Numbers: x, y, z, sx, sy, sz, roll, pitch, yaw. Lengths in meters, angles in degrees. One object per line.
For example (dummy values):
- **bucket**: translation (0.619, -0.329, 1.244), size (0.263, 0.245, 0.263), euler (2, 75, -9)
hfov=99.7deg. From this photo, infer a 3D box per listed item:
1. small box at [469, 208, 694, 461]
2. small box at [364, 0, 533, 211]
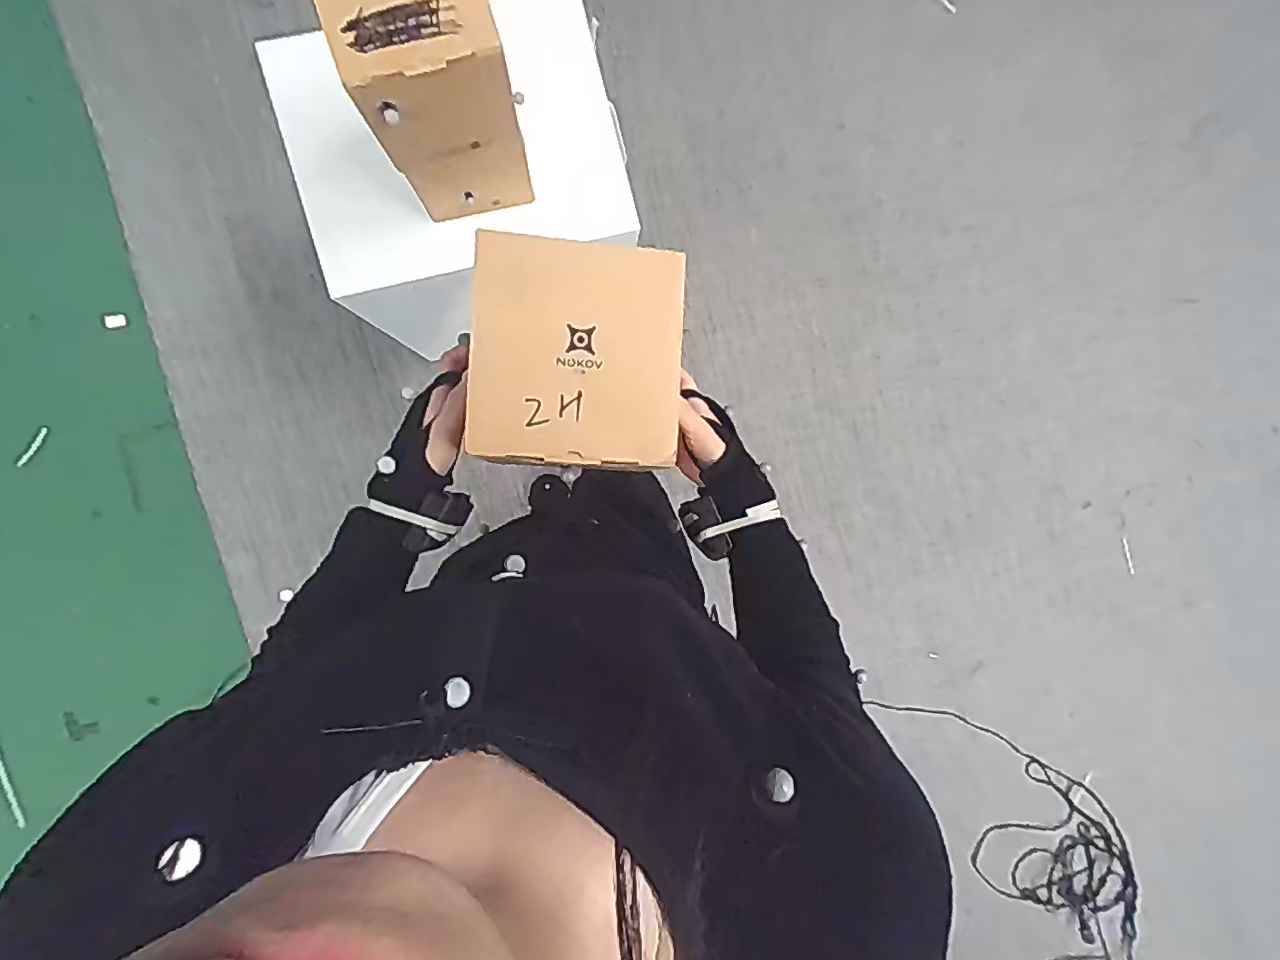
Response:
- **small box**: translation (-0.055, -0.112, 0.494), size (0.168, 0.176, 0.179), euler (3, 90, -9)
- **small box**: translation (-0.257, -0.518, 0.766), size (0.168, 0.176, 0.179), euler (-15, 95, -5)
